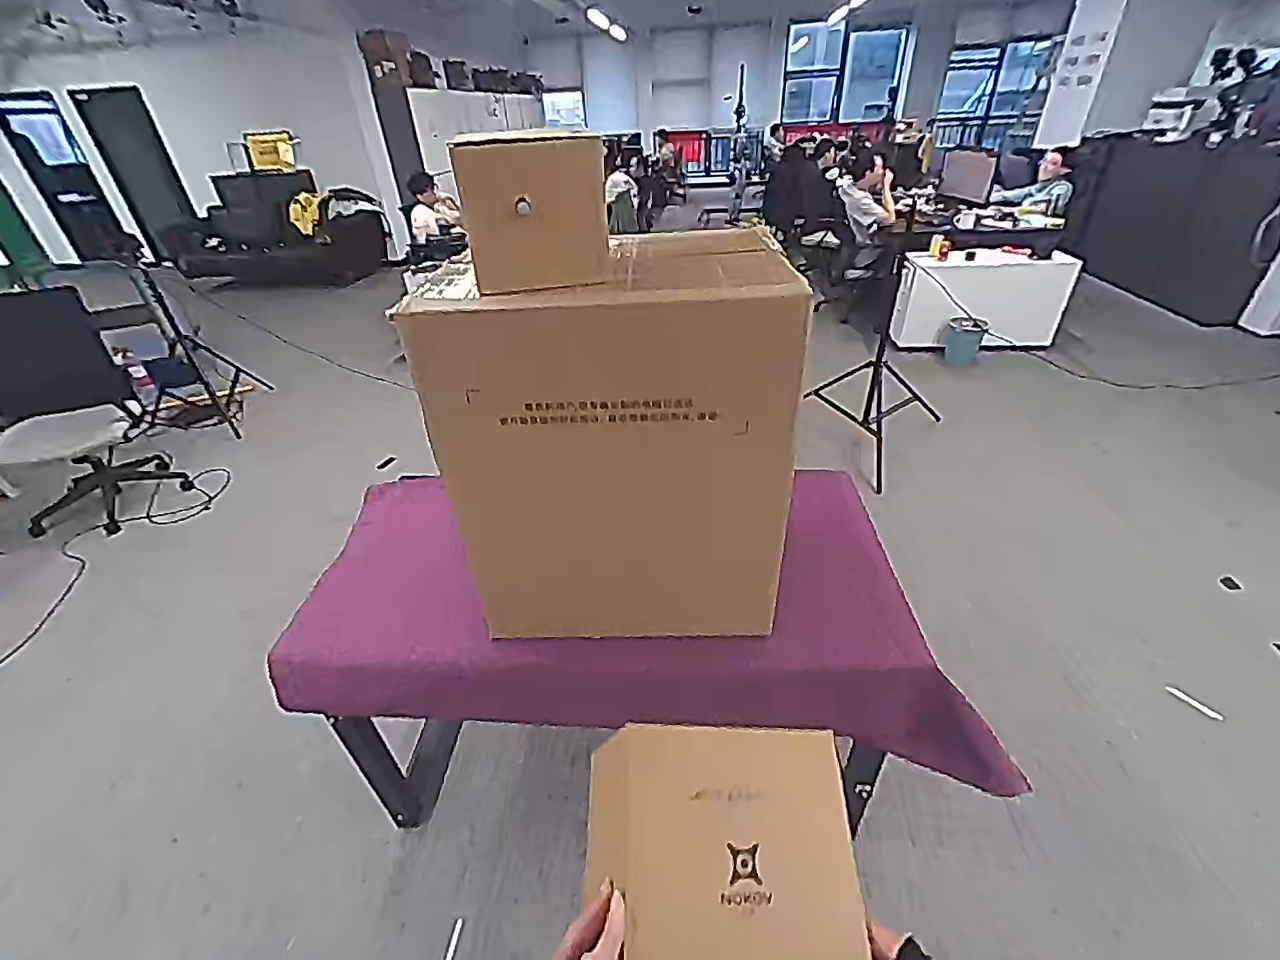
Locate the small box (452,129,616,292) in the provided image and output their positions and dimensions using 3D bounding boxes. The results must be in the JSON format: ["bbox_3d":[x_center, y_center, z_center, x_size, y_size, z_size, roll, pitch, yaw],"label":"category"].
[{"bbox_3d":[-0.135,-0.359,0.719,0.179,0.176,0.168,-10,36,-8],"label":"small box"}]

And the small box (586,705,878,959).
[{"bbox_3d":[0.052,0.285,0.419,0.168,0.176,0.179,7,56,-11],"label":"small box"}]
